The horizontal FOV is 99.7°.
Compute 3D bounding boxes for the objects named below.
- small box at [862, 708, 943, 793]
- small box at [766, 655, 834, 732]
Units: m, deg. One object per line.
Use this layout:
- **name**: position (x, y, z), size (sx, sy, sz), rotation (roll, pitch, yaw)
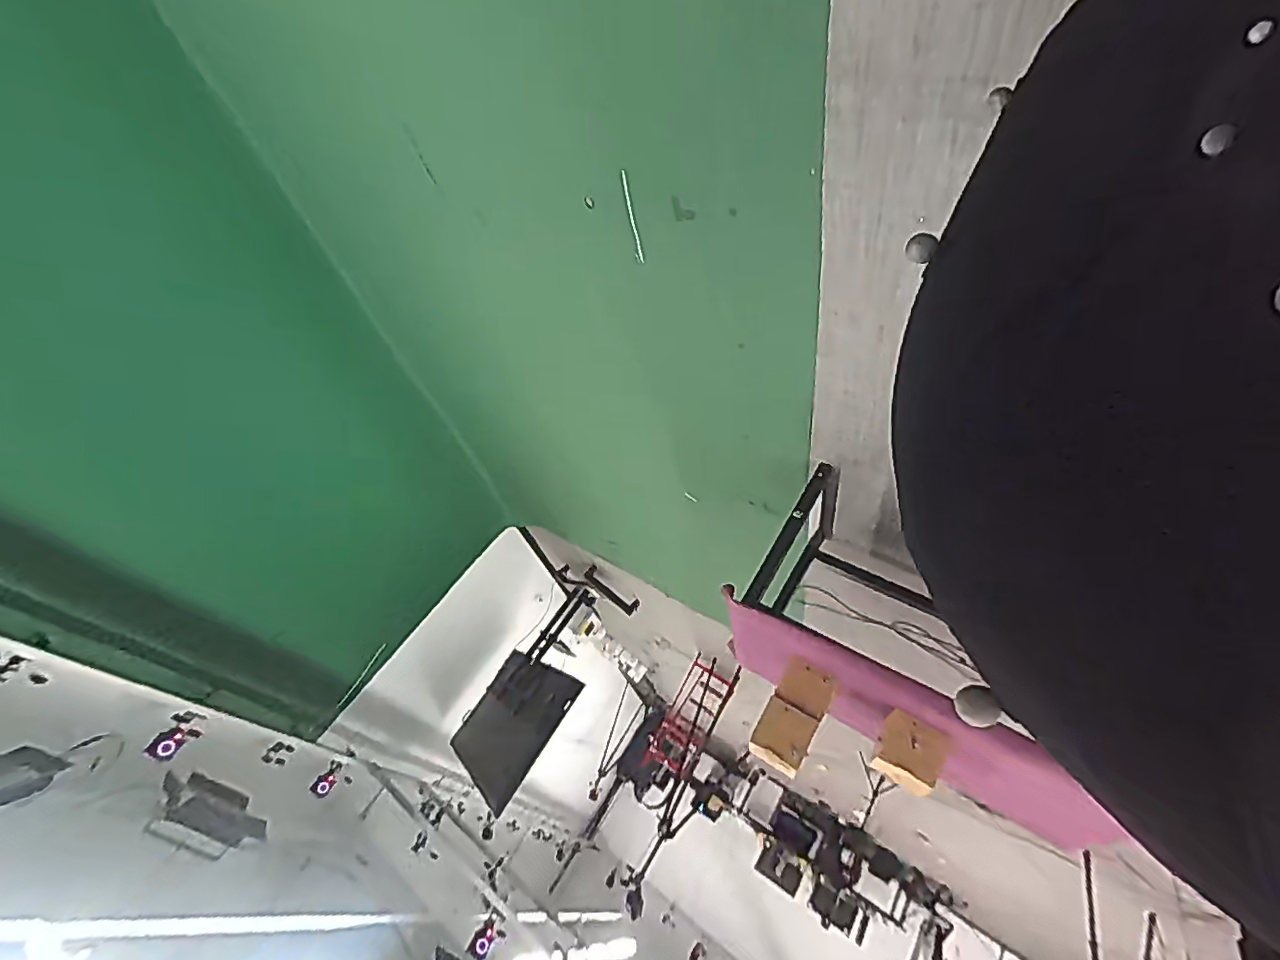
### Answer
- **small box**: position (0.831, 0.850, 1.710), size (0.168, 0.176, 0.179), rotation (26, 152, 25)
- **small box**: position (0.554, 0.735, 1.875), size (0.168, 0.176, 0.179), rotation (27, 153, 25)
